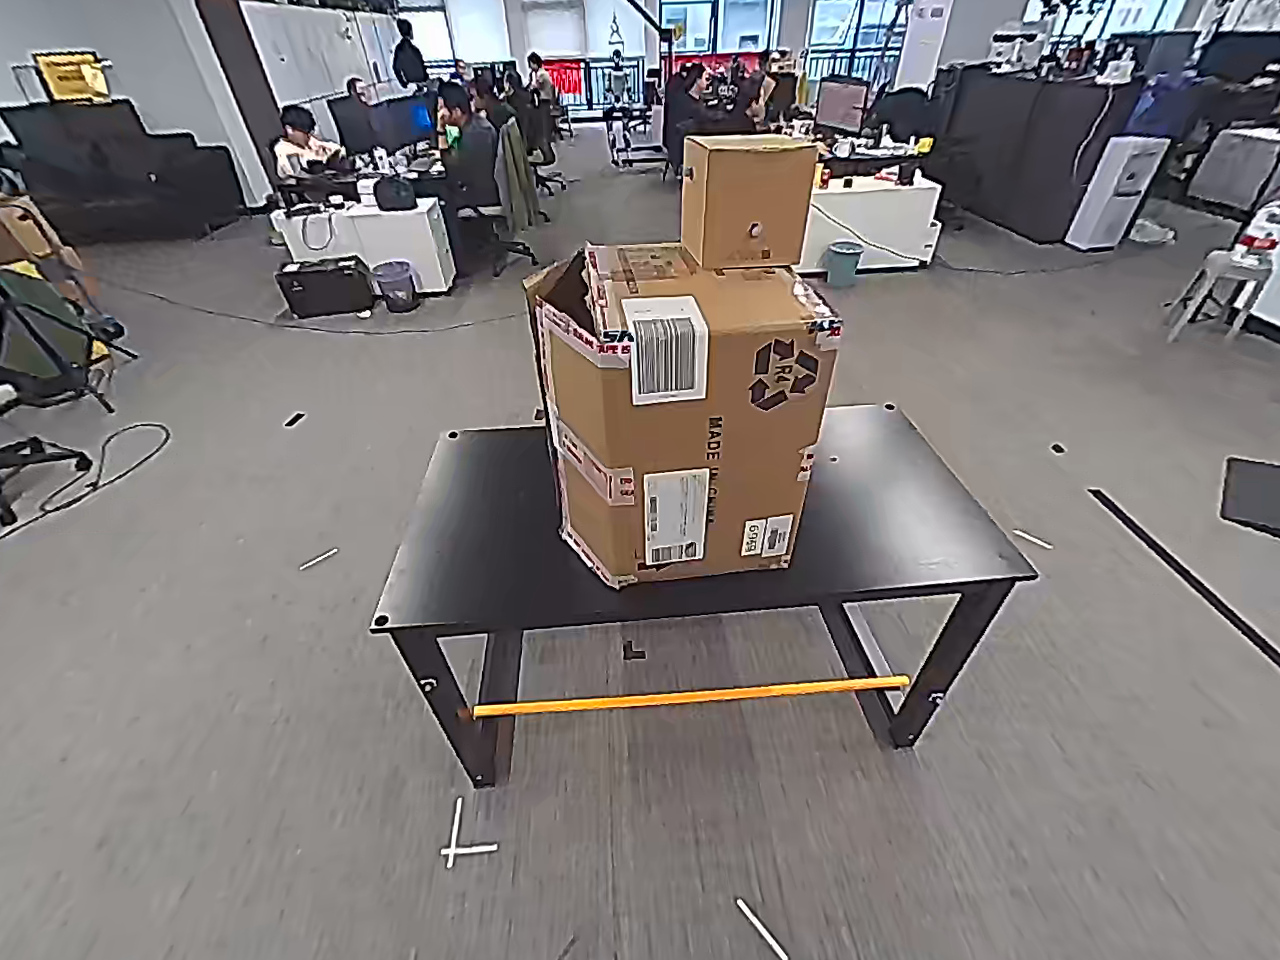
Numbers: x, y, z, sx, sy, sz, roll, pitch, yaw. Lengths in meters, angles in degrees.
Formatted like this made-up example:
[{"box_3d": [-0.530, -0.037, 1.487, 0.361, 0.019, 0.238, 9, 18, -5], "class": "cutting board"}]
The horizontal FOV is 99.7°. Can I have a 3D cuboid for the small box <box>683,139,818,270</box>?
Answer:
[{"box_3d": [0.168, -0.455, 0.890, 0.168, 0.176, 0.179, -5, 38, -6], "class": "small box"}]
